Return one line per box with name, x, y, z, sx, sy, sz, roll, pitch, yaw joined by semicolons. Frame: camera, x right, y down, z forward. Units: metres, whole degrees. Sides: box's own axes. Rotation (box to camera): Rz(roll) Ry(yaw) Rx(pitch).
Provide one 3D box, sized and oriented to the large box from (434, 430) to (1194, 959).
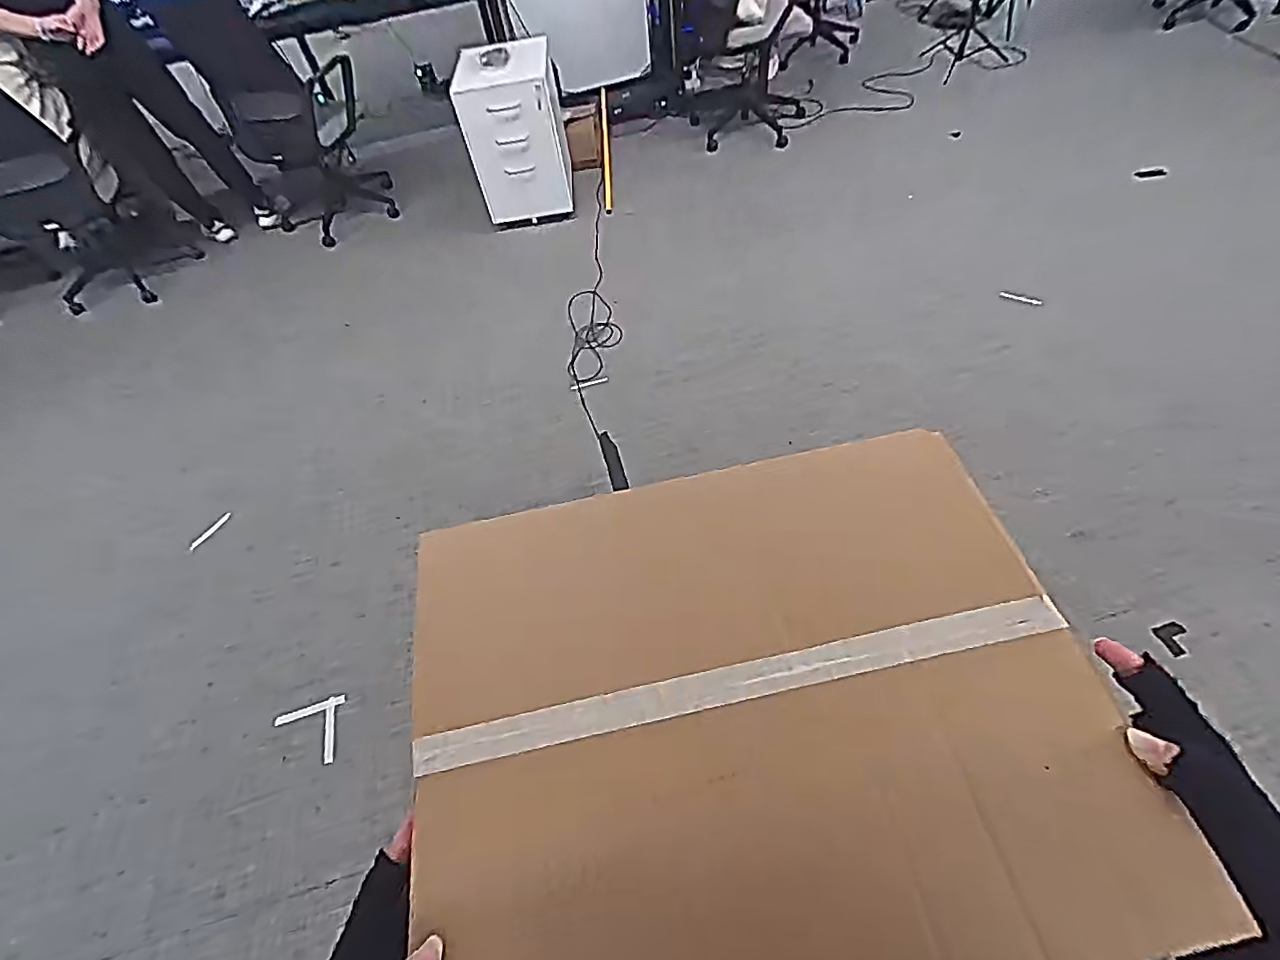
large box;0.075;0.207;0.473;0.408;0.320;0.320;-12;57;-2
